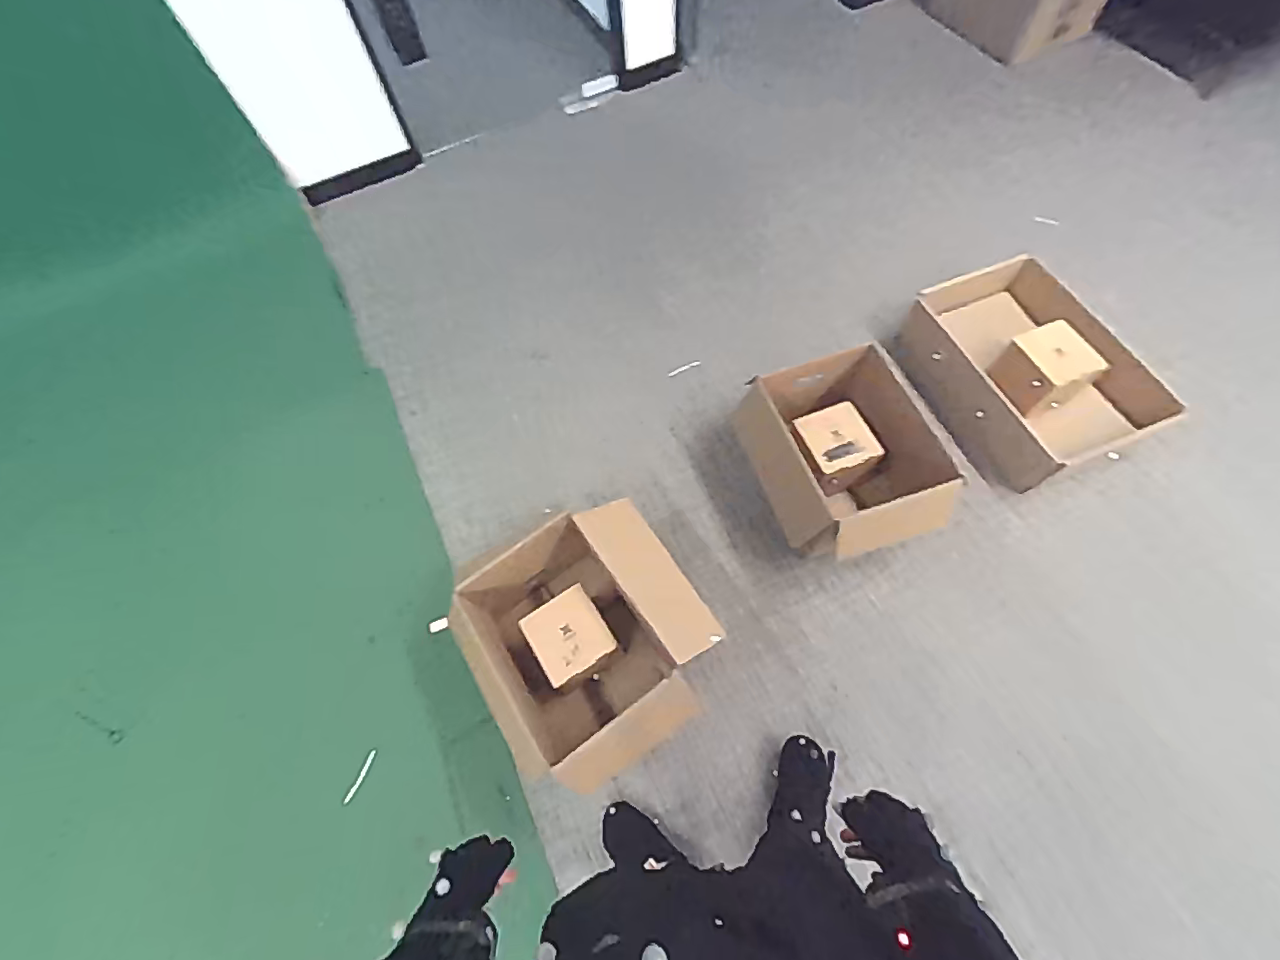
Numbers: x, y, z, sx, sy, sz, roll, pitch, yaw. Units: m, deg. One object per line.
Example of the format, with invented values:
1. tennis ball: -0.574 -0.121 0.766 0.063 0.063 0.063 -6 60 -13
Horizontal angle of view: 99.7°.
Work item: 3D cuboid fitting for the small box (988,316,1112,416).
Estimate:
1. small box: 1.108 -0.308 1.480 0.168 0.176 0.179 -21 65 -6
